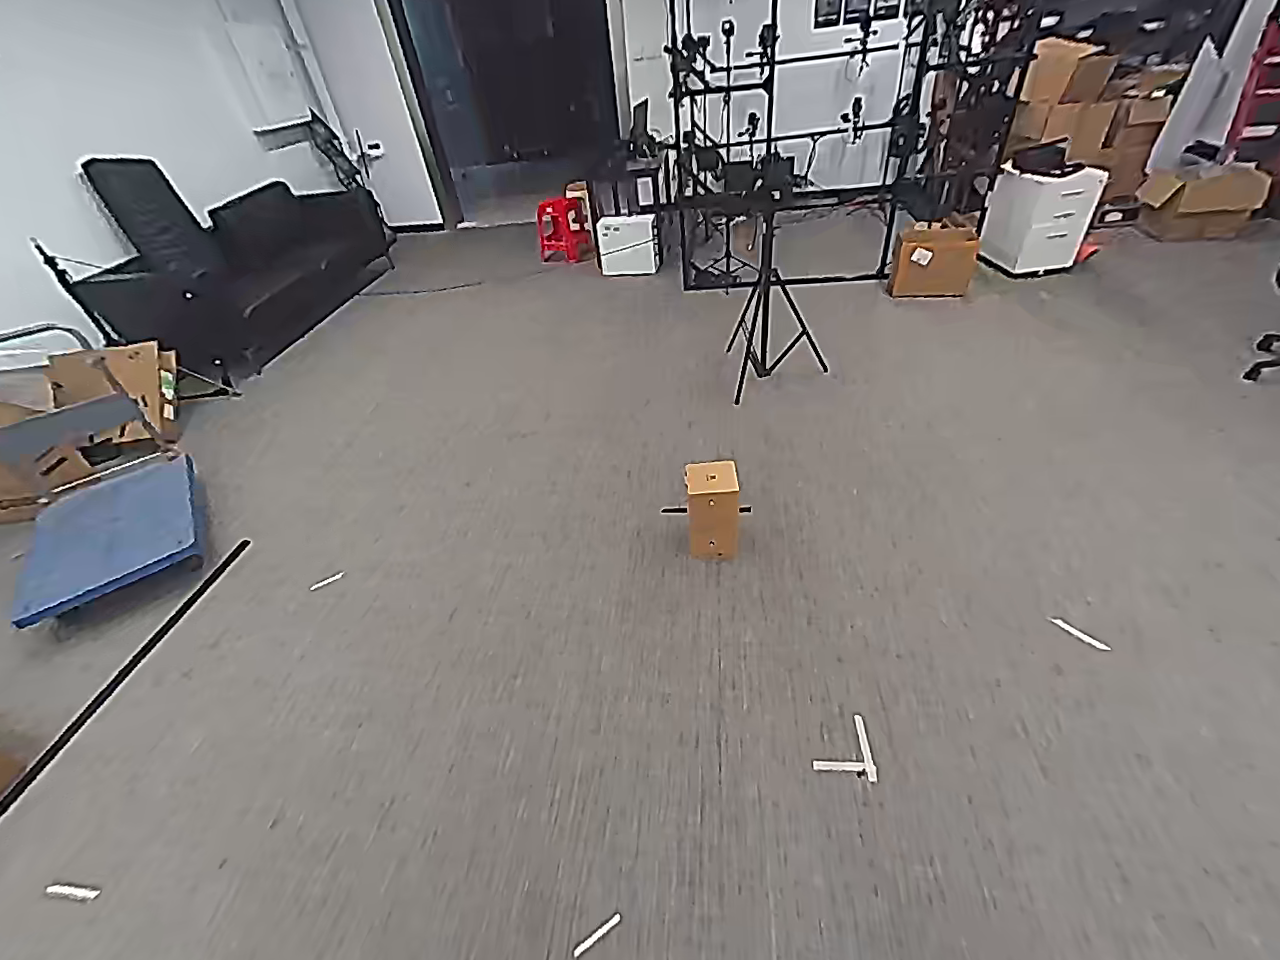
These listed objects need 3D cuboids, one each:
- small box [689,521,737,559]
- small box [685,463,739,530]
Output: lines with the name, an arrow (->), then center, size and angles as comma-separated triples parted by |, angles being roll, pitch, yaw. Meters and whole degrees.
small box -> 0.278, 0.178, 2.030 | 0.168, 0.176, 0.179 | 1, 39, 11
small box -> 0.254, 0.059, 1.921 | 0.179, 0.176, 0.168 | -5, 39, 5
